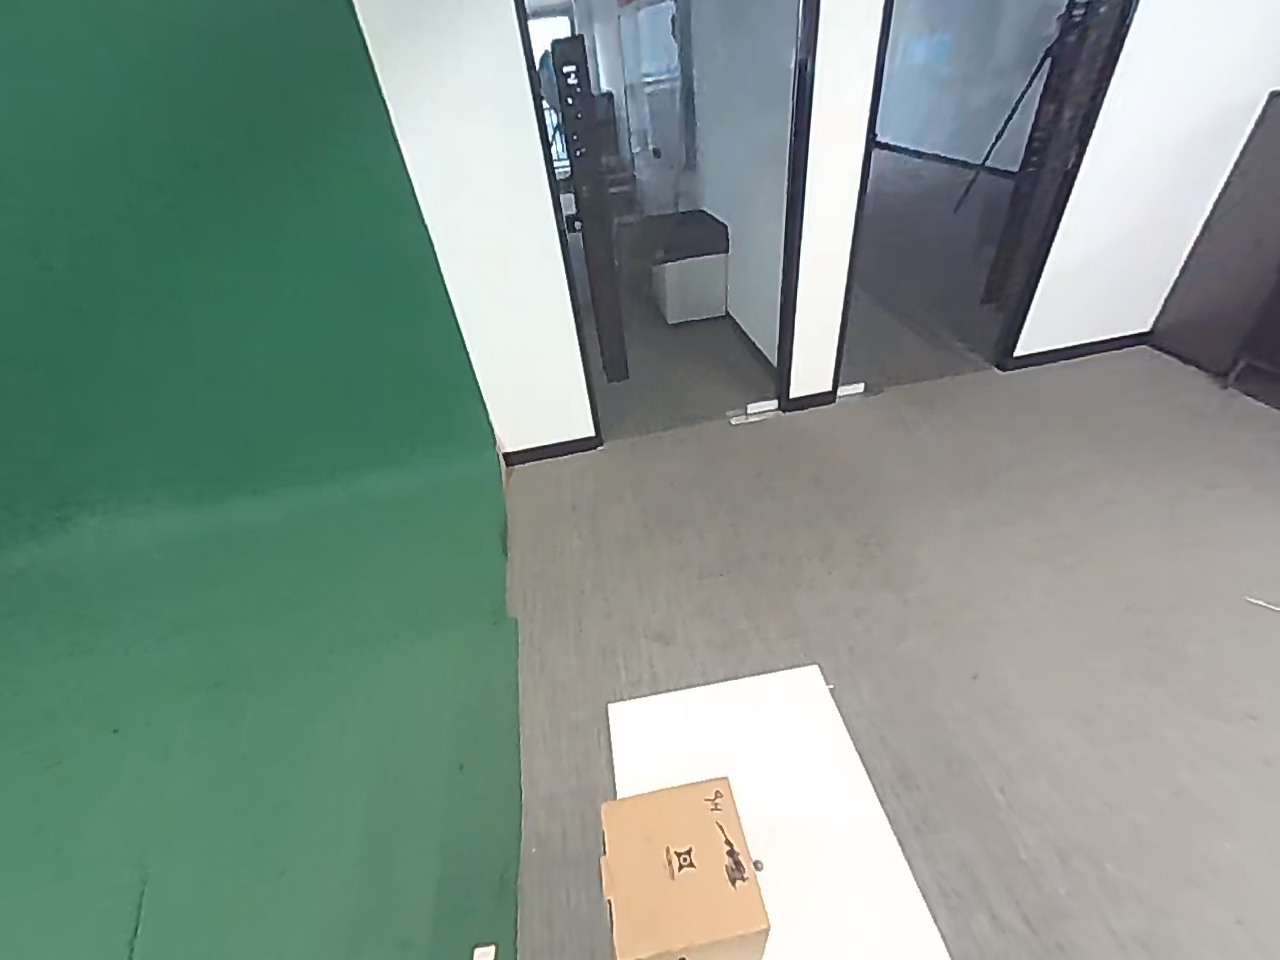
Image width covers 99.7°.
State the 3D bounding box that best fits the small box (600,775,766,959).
[{"bbox_3d":[0.052,0.519,0.702,0.179,0.176,0.168,-10,39,-4],"label":"small box"}]
